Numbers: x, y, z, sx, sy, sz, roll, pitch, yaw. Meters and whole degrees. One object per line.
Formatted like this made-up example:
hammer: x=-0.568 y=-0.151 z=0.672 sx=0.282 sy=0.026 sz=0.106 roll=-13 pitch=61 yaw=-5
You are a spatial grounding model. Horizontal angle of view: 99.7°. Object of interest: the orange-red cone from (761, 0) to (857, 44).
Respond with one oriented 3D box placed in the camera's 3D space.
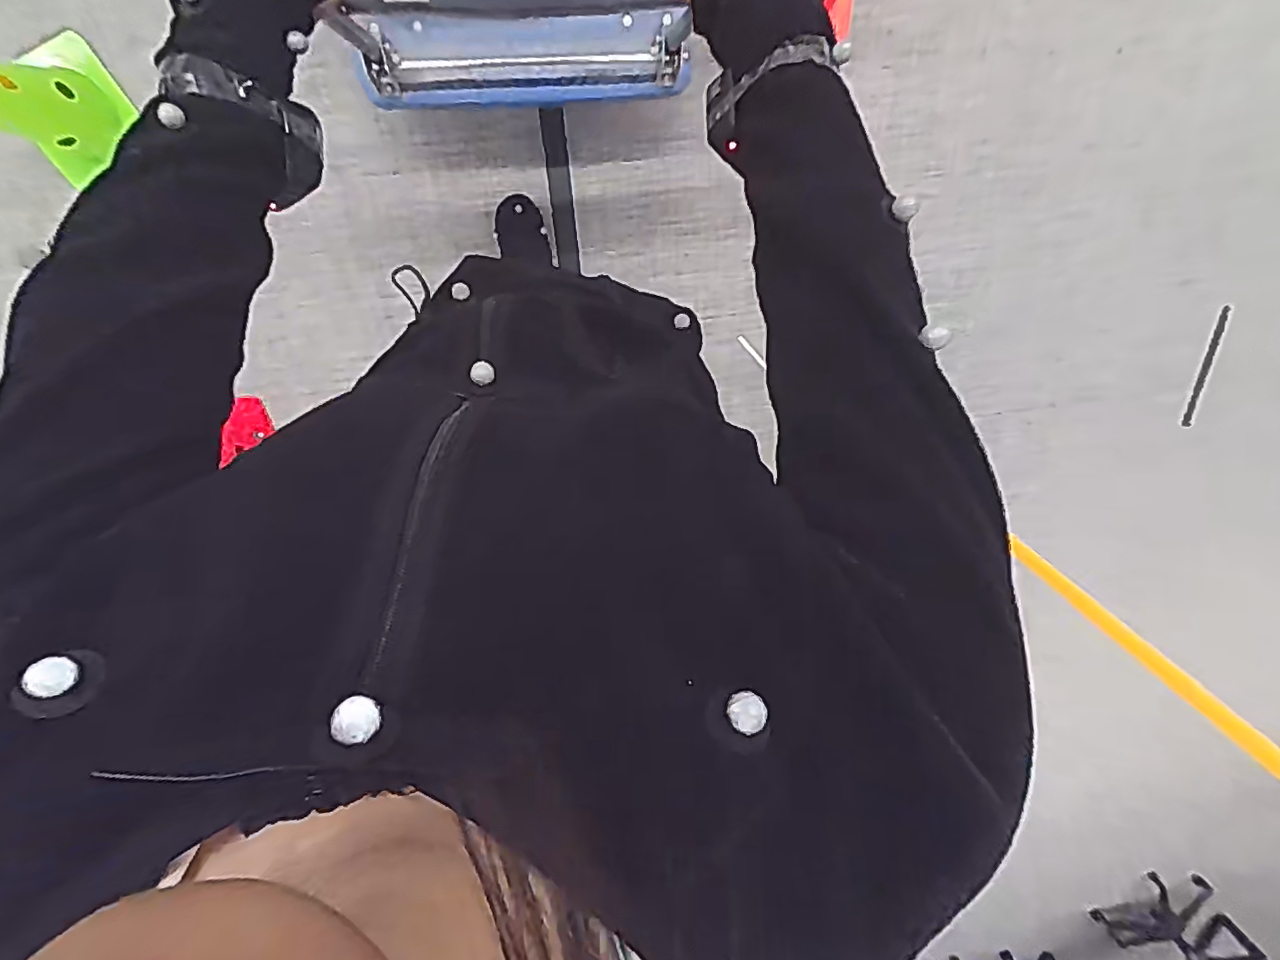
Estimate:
orange-red cone: x=0.370 y=-0.919 z=0.921 sx=0.199 sy=0.360 sz=0.198 roll=-2 pitch=117 yaw=-9
